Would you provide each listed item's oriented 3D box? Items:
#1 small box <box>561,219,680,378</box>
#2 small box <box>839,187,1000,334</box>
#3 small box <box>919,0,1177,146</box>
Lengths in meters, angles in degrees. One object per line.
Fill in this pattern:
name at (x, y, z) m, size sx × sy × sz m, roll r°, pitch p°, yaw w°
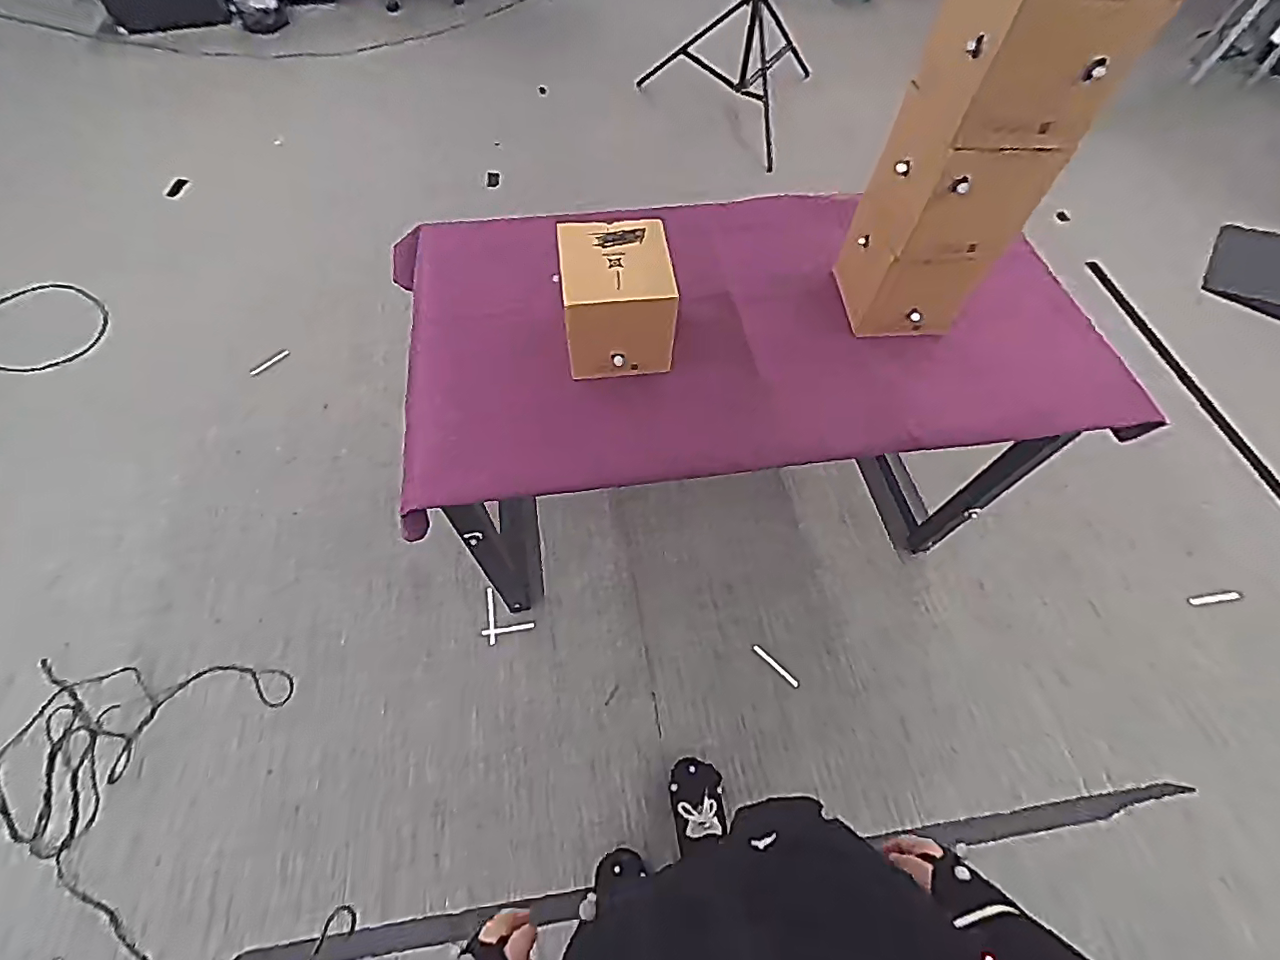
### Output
small box at (-0.036, -0.288, 0.868) m, size 0.168 × 0.176 × 0.179 m, roll -6°, pitch 62°, yaw -5°
small box at (0.461, -0.373, 0.927) m, size 0.168 × 0.176 × 0.179 m, roll -3°, pitch 62°, yaw -2°
small box at (0.465, -0.523, 0.637) m, size 0.168 × 0.176 × 0.179 m, roll 0°, pitch 60°, yaw -3°
